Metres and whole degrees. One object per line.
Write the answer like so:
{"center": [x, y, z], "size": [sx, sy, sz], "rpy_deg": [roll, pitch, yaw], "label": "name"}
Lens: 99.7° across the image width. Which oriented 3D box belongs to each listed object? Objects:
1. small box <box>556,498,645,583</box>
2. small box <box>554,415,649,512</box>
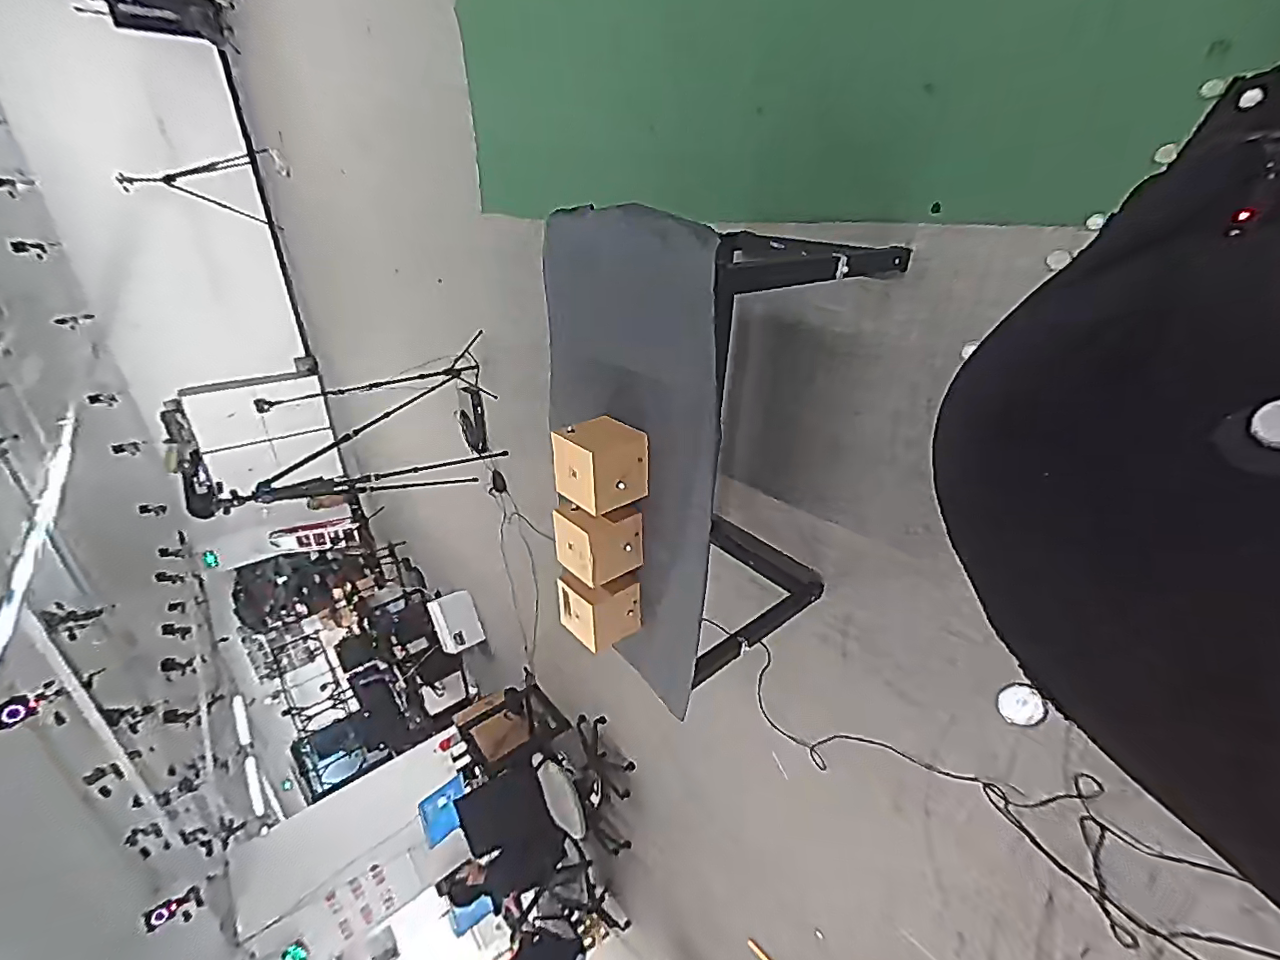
{"center": [-0.104, 0.141, 1.443], "size": [0.179, 0.176, 0.168], "rpy_deg": [26, 128, 44], "label": "small box"}
{"center": [-0.089, -0.050, 1.325], "size": [0.179, 0.176, 0.168], "rpy_deg": [28, 129, 44], "label": "small box"}
